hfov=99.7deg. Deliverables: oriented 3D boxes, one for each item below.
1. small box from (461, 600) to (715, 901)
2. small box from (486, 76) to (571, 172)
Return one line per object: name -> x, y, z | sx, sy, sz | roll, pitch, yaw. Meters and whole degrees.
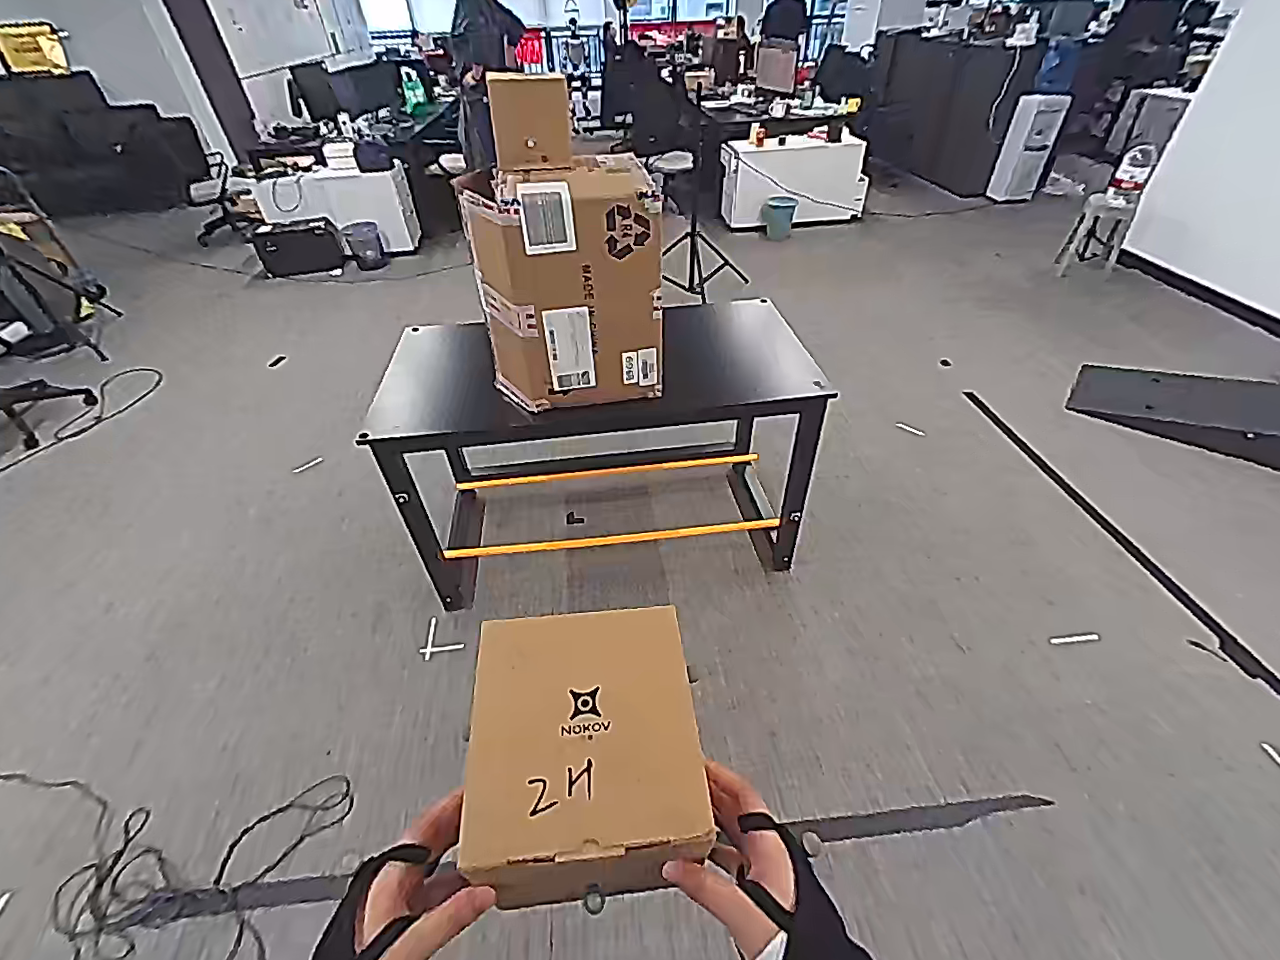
small box -> -0.042, 0.226, 0.458 | 0.168, 0.176, 0.179 | -4, 45, -5
small box -> -0.251, -0.807, 1.225 | 0.168, 0.176, 0.179 | -8, 40, -9
